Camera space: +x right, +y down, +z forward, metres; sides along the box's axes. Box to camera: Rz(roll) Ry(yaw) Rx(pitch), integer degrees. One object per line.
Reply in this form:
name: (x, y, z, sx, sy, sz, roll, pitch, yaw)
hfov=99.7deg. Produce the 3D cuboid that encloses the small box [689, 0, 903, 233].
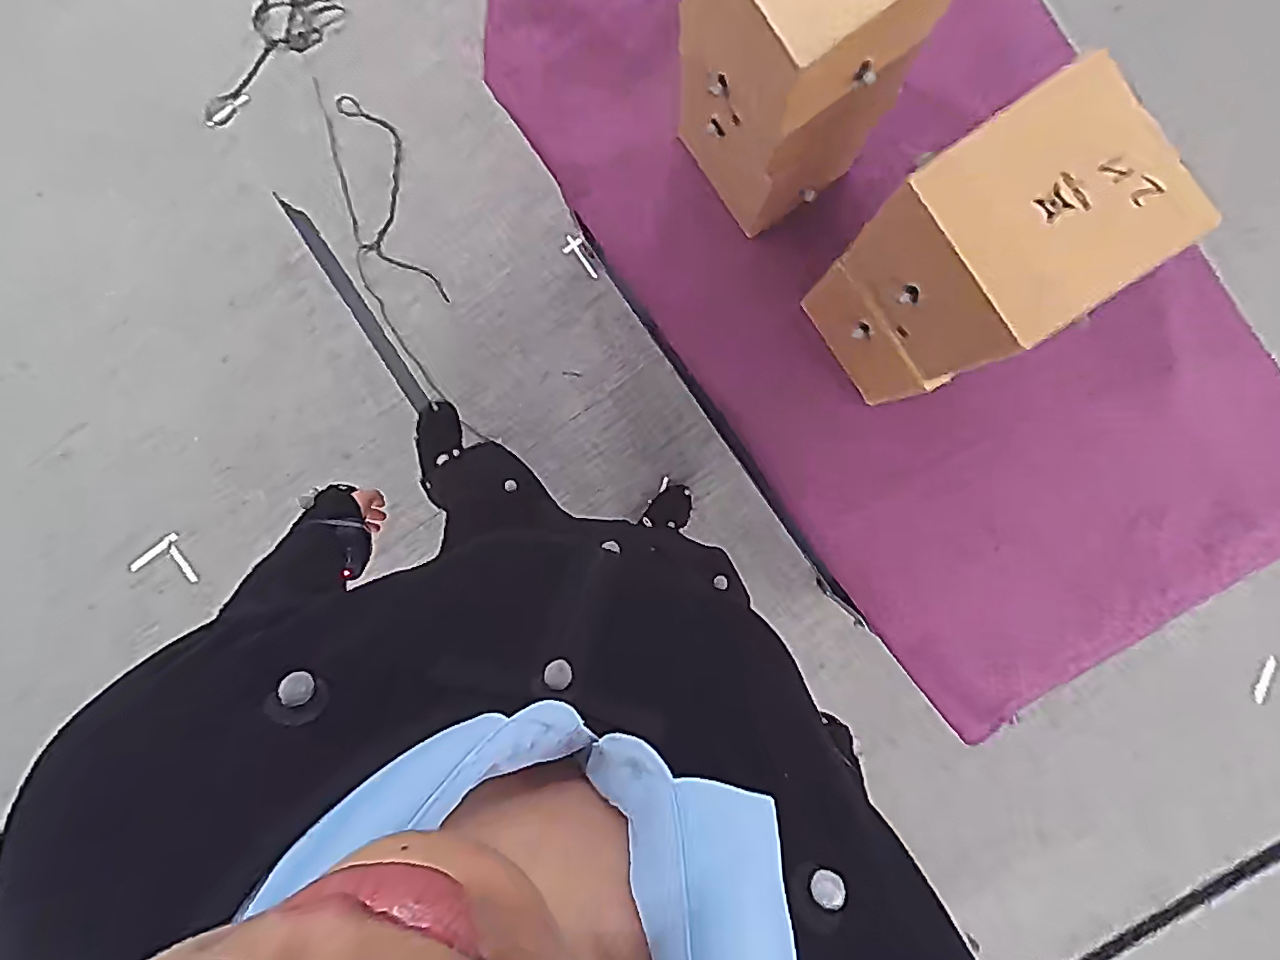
small box: (0.171, -0.445, 0.662, 0.168, 0.176, 0.179, -34, 91, 4)

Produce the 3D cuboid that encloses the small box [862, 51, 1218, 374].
small box: (0.332, -0.218, 0.498, 0.179, 0.176, 0.168, -33, 90, 3)

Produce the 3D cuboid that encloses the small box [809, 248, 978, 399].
small box: (0.338, -0.213, 0.663, 0.168, 0.176, 0.179, -33, 89, 4)
